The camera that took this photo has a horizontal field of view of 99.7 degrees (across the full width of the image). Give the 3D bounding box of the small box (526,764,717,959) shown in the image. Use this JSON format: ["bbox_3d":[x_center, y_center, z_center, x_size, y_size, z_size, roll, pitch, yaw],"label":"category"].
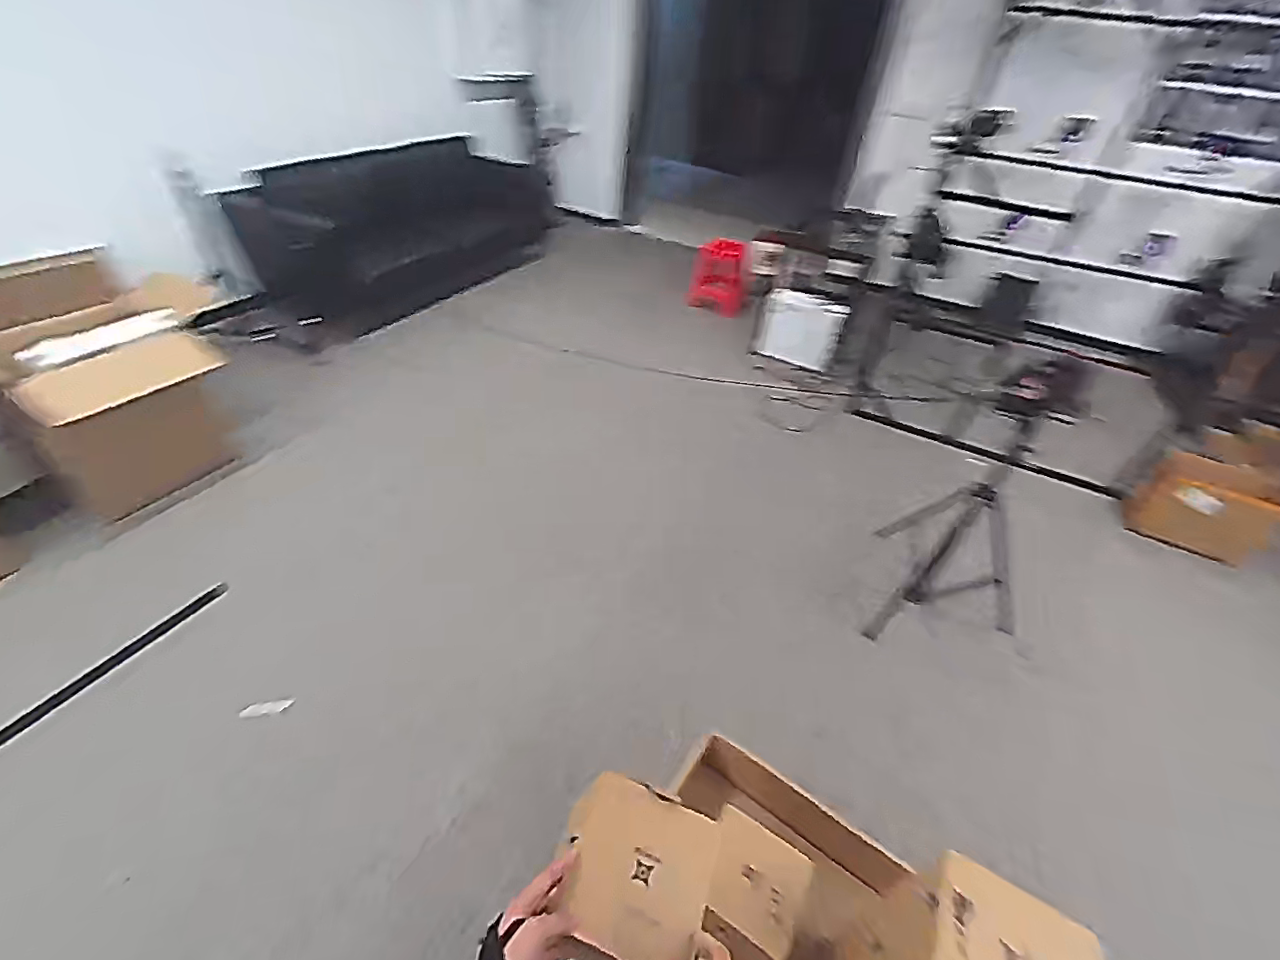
[{"bbox_3d":[-0.025,0.504,0.678,0.168,0.176,0.179,26,40,1],"label":"small box"}]

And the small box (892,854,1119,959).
[{"bbox_3d":[0.423,0.602,0.643,0.179,0.176,0.168,26,41,21],"label":"small box"}]
